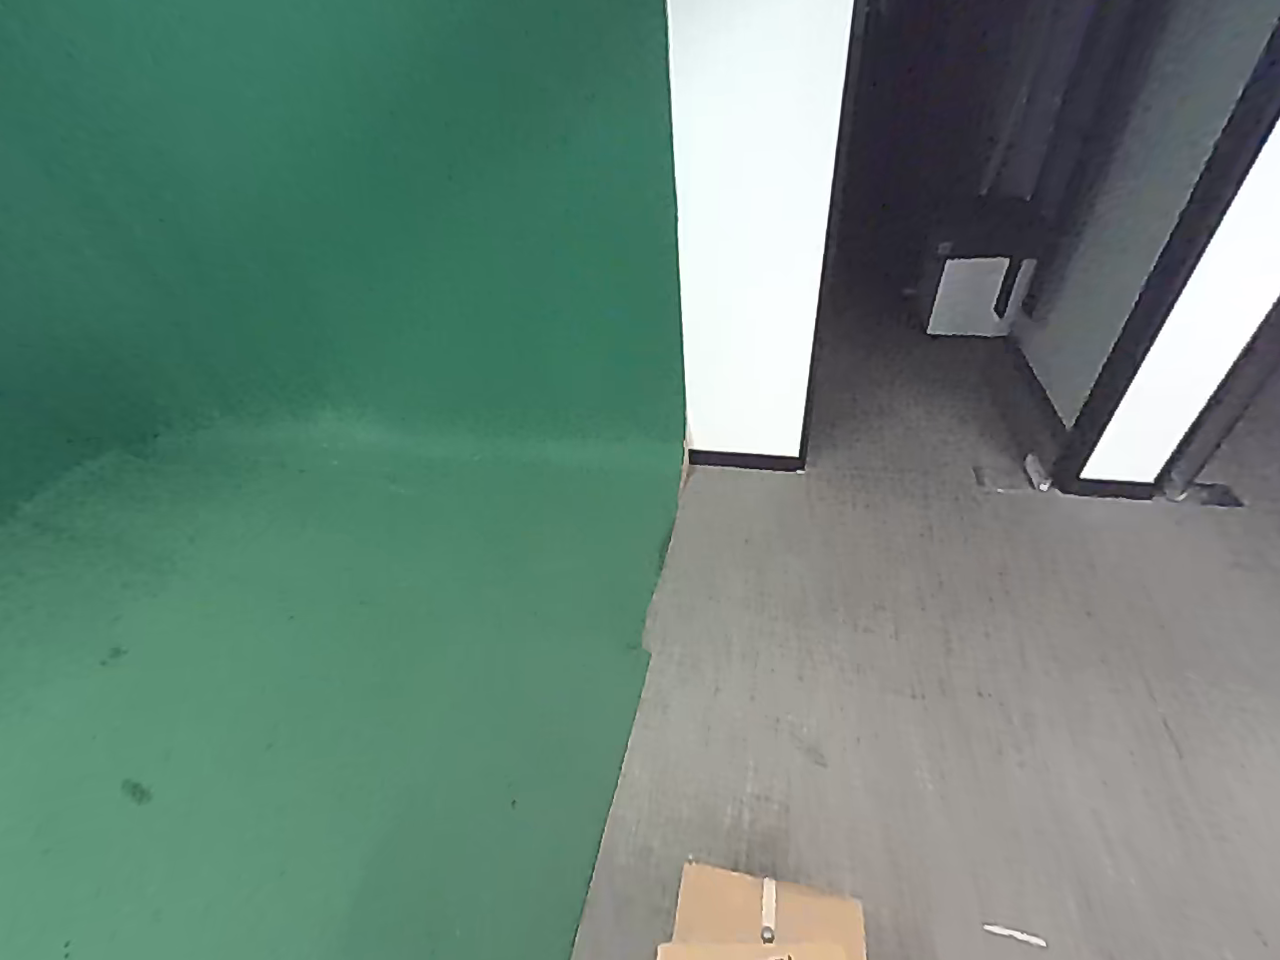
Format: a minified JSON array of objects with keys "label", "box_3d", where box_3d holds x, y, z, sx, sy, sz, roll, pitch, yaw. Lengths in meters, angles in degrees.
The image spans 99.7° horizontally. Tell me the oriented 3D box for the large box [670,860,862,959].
[{"label":"large box","box_3d":[0.200,0.955,0.913,0.320,0.320,0.408,4,40,14]}]
